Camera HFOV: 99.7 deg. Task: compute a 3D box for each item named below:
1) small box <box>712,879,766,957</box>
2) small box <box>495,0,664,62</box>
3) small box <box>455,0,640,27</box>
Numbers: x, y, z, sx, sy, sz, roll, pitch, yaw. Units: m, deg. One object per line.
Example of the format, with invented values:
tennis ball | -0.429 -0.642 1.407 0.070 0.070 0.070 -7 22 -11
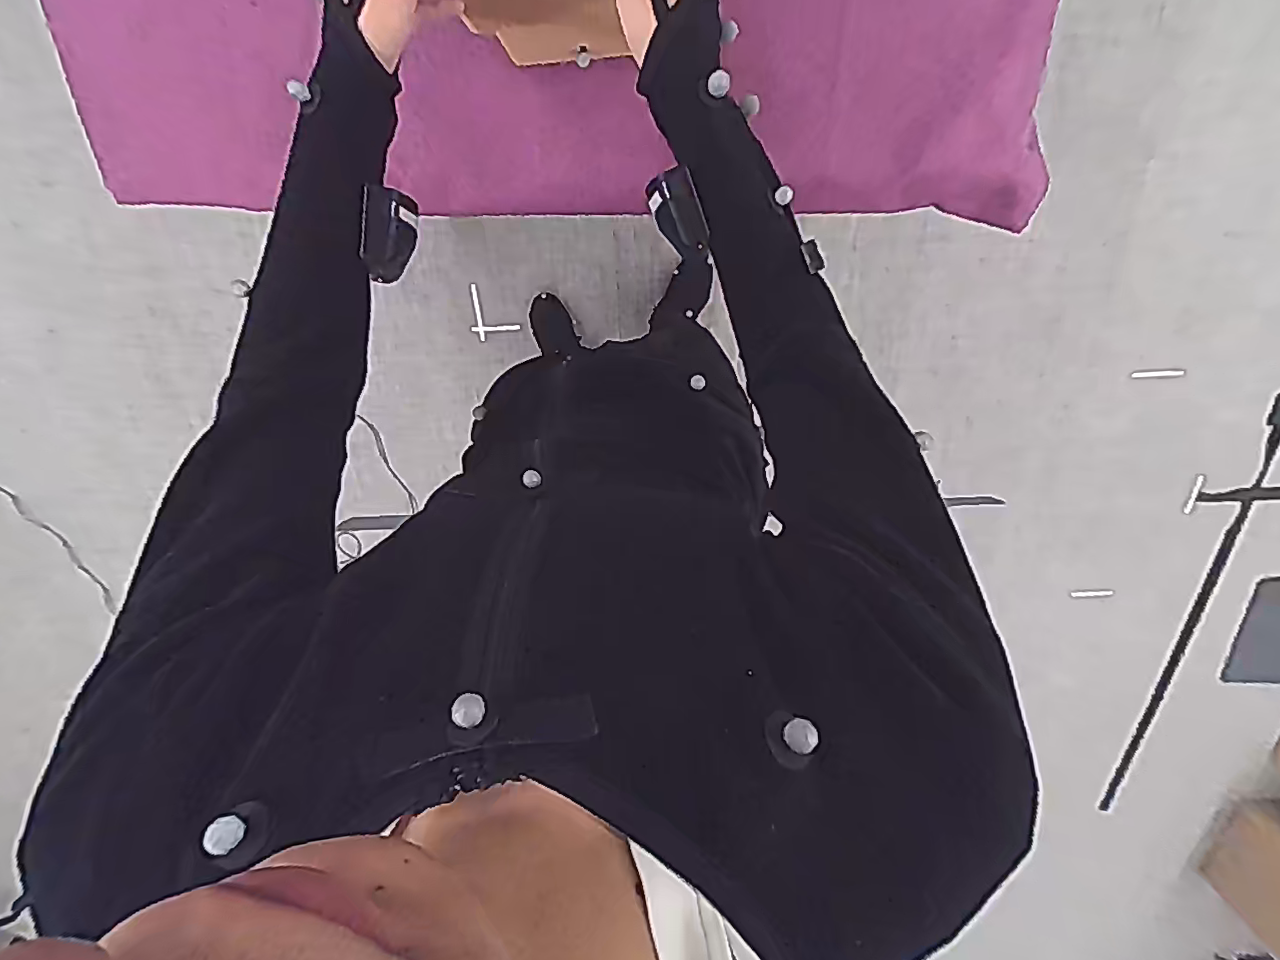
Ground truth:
small box | 0.368 1.642 2.032 0.168 0.176 0.179 -4 114 -1
small box | -0.071 -0.564 0.564 0.179 0.176 0.168 -5 114 0
small box | -0.085 -0.484 0.420 0.179 0.176 0.168 -5 115 0
